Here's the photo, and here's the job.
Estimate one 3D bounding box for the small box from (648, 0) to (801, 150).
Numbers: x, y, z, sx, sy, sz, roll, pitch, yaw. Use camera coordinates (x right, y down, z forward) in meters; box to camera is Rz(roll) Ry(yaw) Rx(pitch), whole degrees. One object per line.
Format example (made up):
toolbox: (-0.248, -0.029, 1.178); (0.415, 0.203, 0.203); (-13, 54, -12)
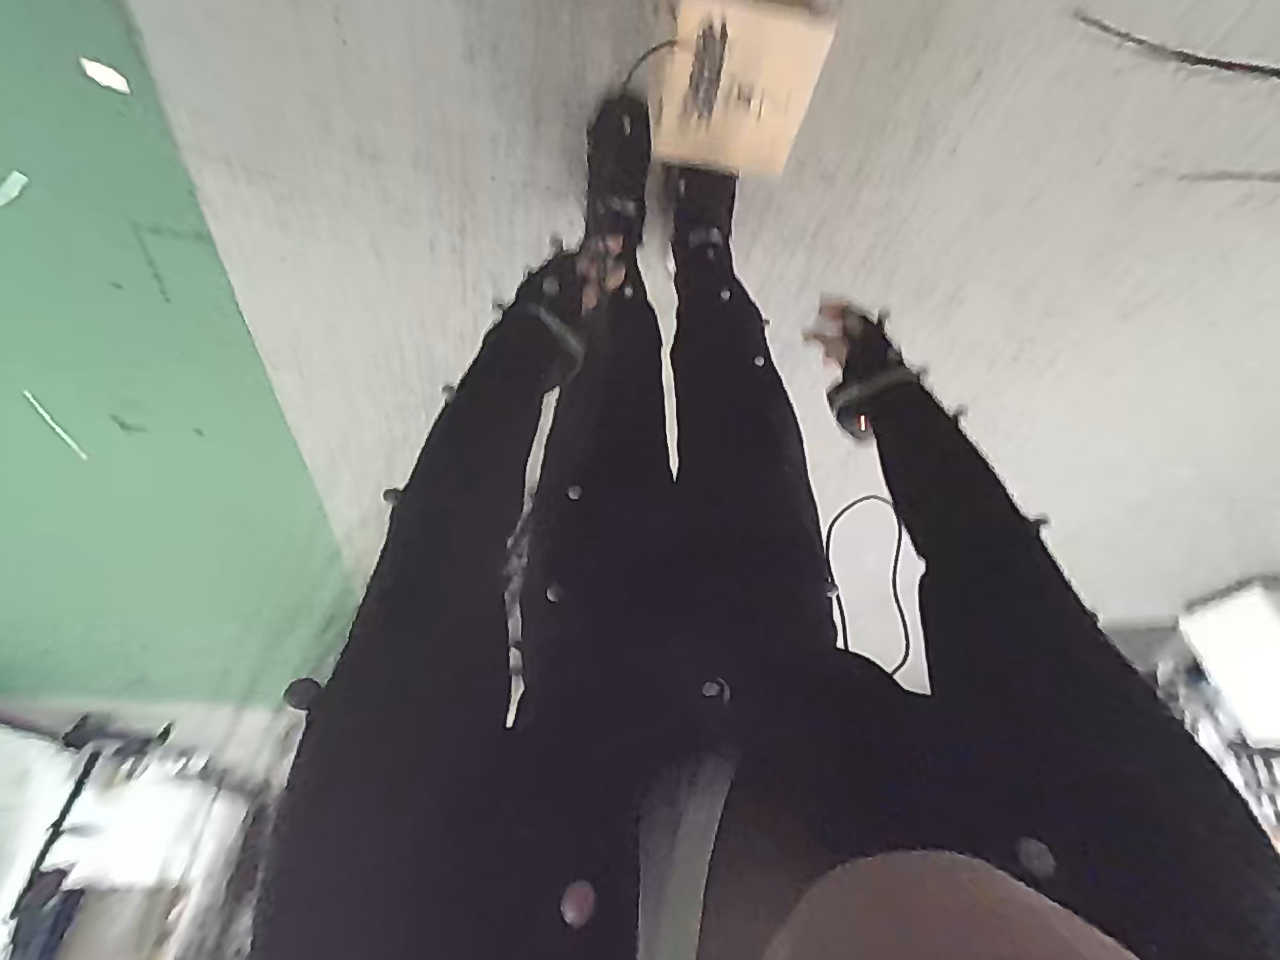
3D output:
small box: (0.114, -0.630, 0.810); (0.179, 0.176, 0.168); (6, 141, -8)
